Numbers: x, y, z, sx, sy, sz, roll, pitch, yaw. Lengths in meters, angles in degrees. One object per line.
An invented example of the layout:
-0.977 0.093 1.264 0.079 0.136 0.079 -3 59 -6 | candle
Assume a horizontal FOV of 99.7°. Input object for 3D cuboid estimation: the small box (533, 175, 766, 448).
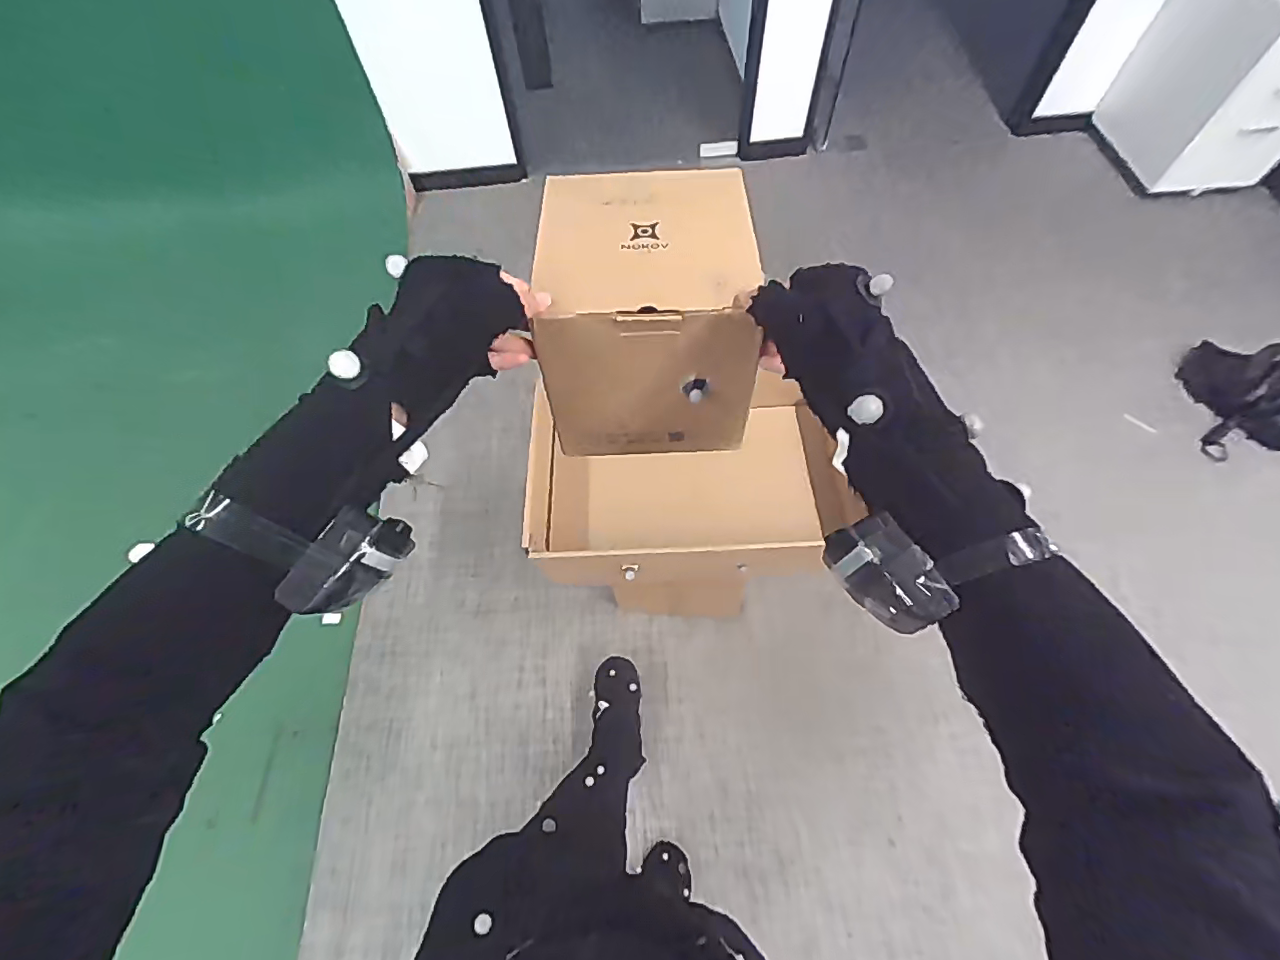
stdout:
0.009 -0.140 0.482 0.168 0.176 0.179 -1 56 0 | small box
